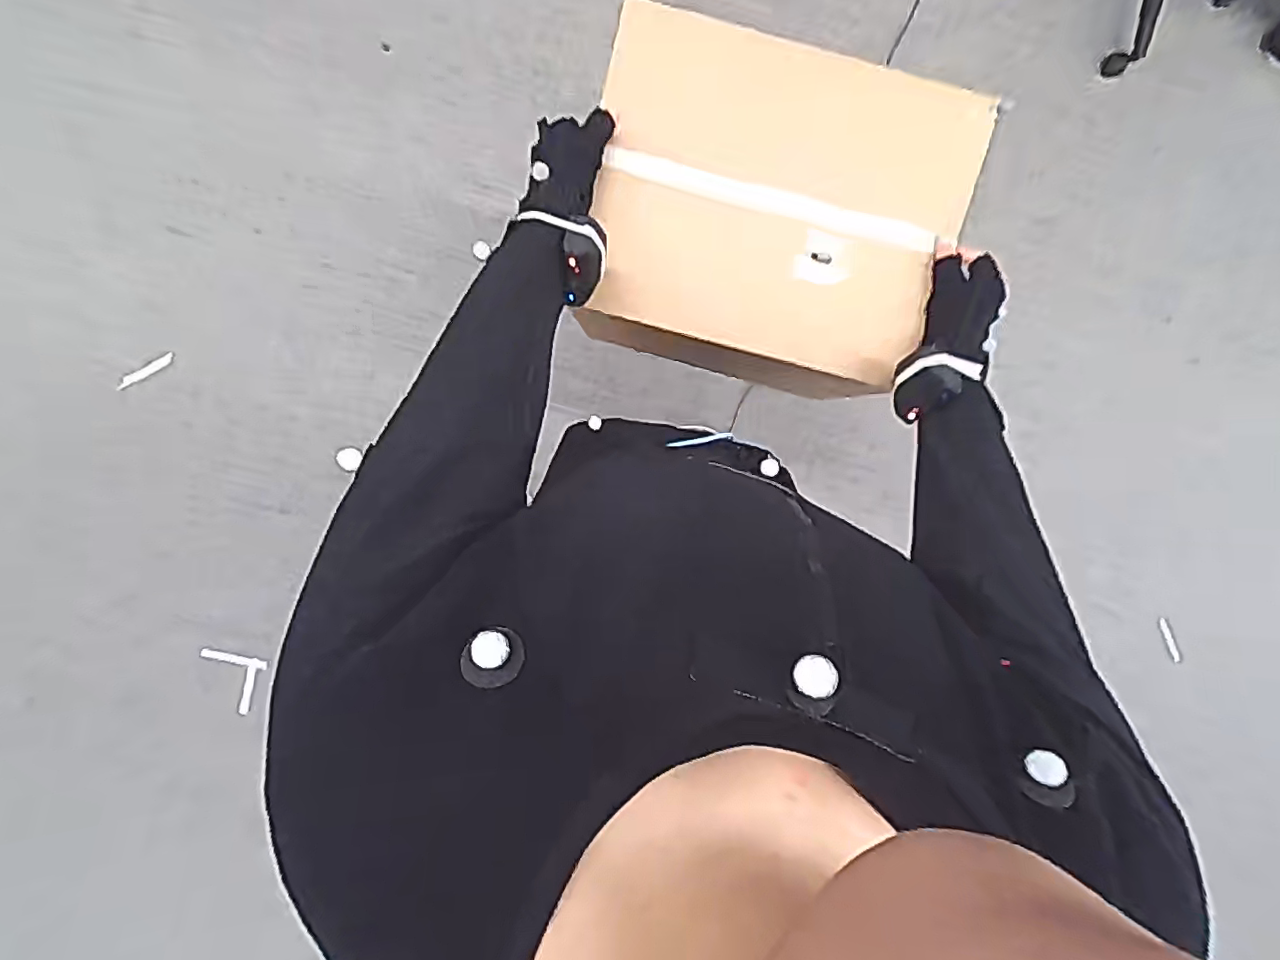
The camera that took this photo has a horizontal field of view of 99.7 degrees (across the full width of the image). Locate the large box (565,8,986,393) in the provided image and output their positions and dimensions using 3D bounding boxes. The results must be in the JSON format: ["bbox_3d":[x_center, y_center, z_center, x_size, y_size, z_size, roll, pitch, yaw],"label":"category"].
[{"bbox_3d":[0.142,-0.322,0.738,0.408,0.320,0.320,15,98,-2],"label":"large box"}]
